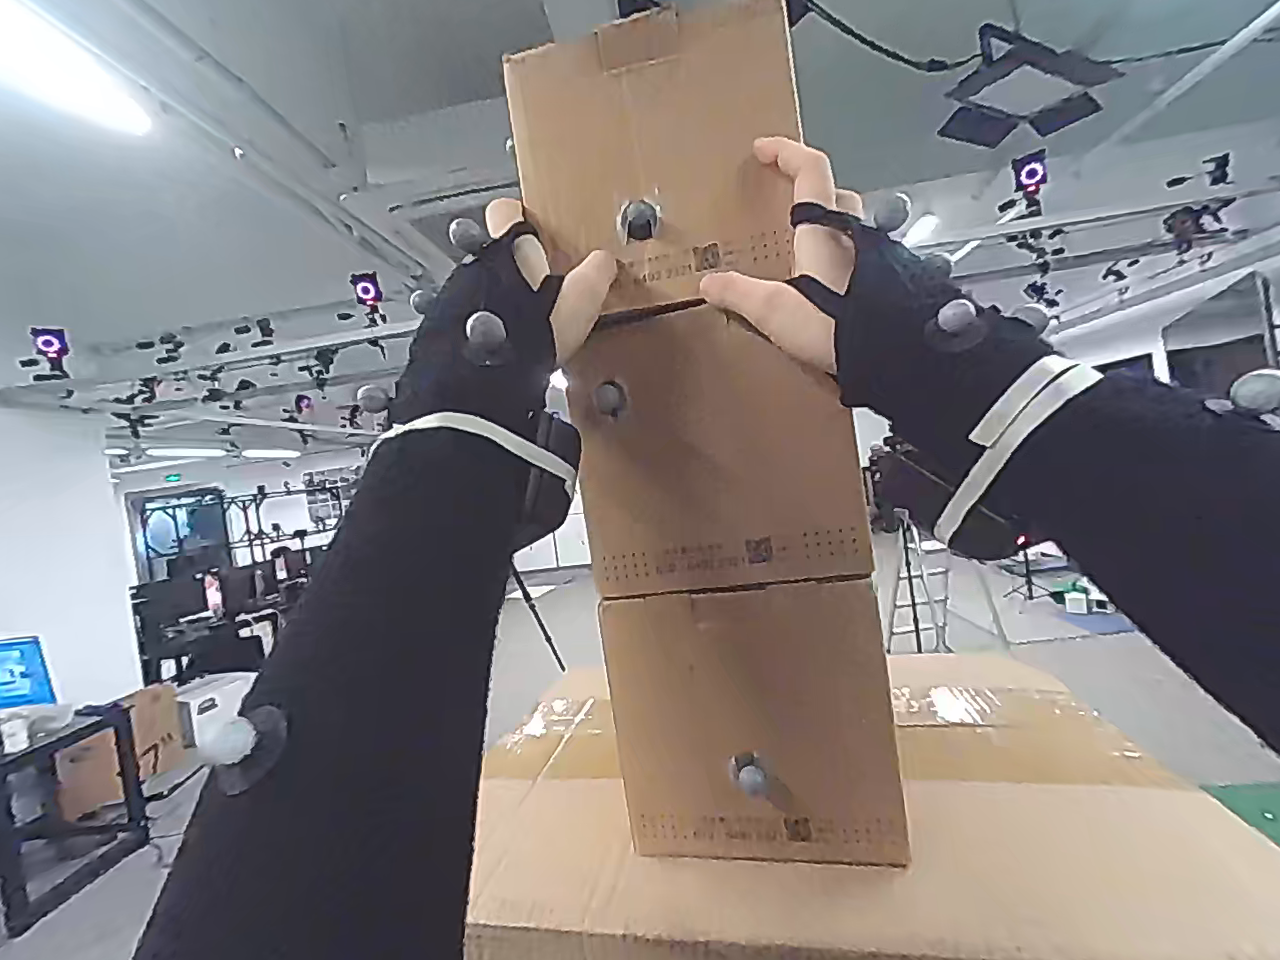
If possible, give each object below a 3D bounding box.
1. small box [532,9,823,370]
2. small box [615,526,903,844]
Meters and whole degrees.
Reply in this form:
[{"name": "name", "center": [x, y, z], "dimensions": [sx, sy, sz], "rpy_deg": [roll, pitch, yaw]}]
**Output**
[{"name": "small box", "center": [0.031, -0.184, 0.407], "dimensions": [0.168, 0.176, 0.179], "rpy_deg": [-7, 2, 7]}, {"name": "small box", "center": [0.090, 0.137, 0.417], "dimensions": [0.168, 0.176, 0.179], "rpy_deg": [-7, 3, 14]}]
